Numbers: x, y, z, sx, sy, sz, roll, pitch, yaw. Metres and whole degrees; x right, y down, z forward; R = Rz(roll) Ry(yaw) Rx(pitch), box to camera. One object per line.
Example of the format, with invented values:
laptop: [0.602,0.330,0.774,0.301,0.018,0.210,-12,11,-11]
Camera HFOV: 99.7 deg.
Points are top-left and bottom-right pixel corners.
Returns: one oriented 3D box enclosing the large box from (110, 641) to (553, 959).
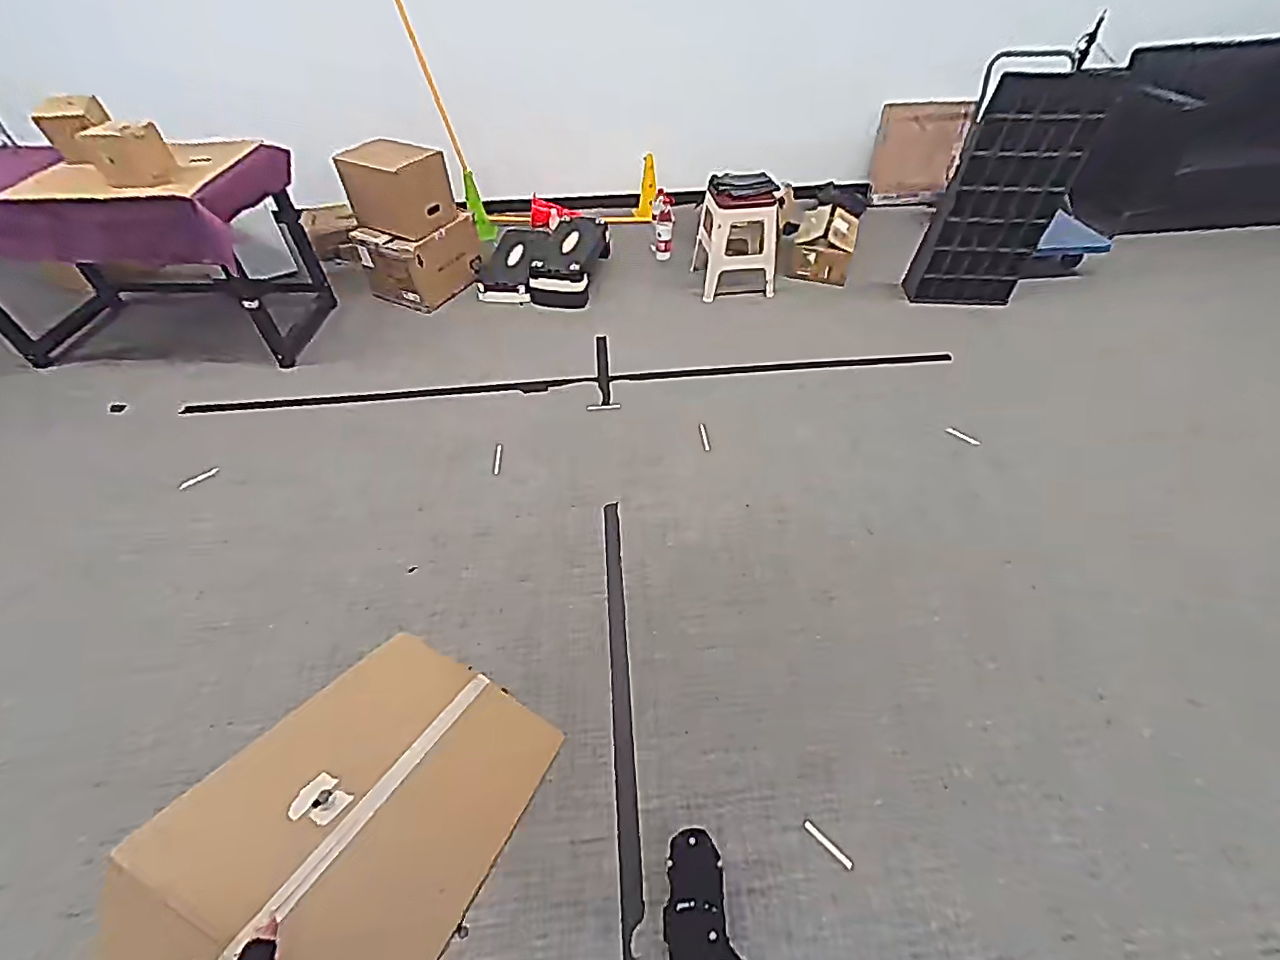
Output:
large box: [-0.378,0.511,0.736,0.320,0.320,0.408,29,22,7]
